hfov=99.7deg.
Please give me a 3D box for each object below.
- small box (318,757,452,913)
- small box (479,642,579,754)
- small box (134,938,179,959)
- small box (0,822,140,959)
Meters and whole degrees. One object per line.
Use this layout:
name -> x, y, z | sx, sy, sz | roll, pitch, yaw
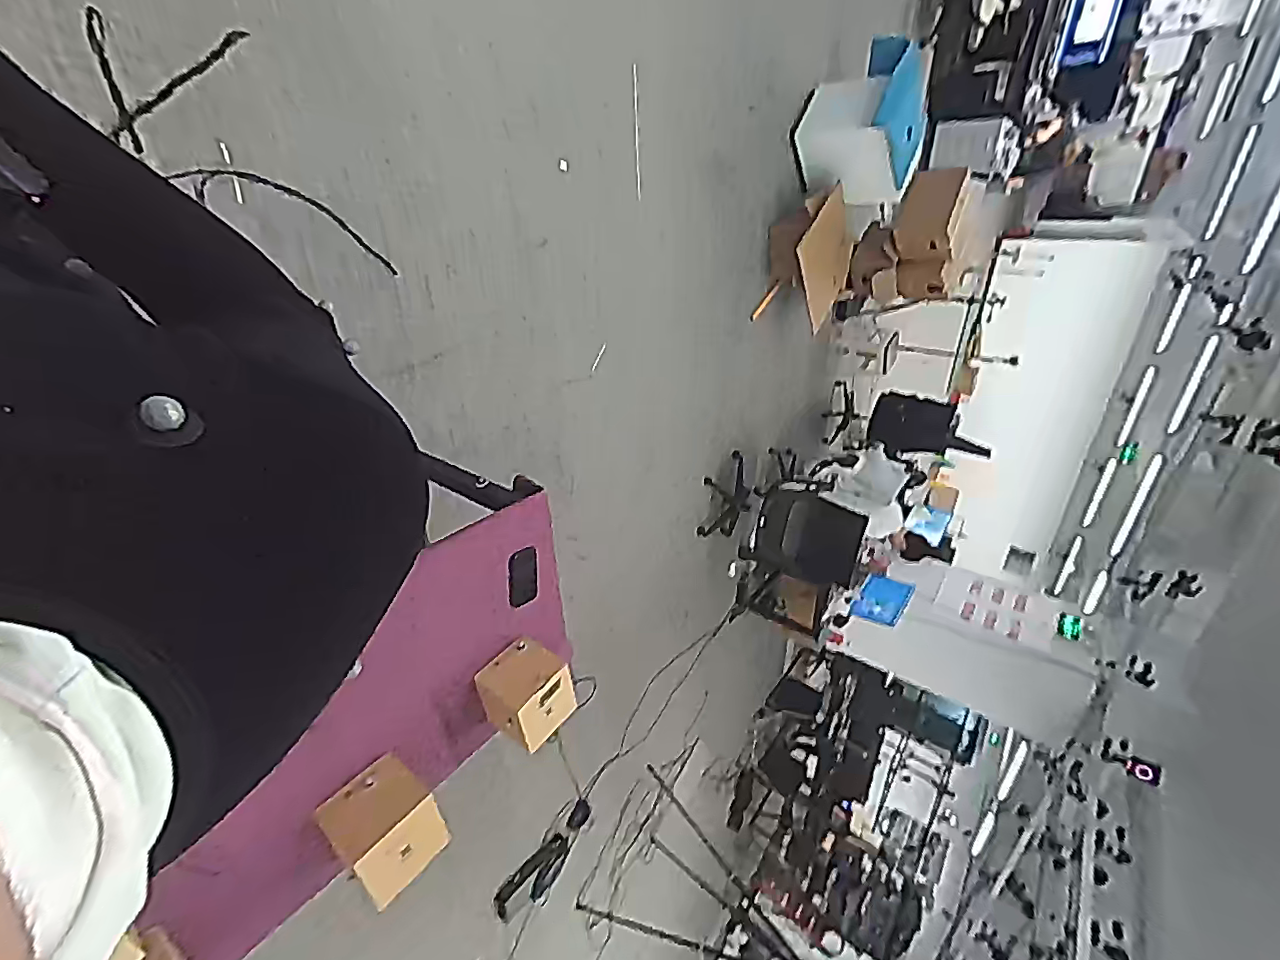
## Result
small box -> -0.519, 0.714, 1.106 | 0.168, 0.176, 0.179 | -34, 131, -43
small box -> -0.279, 0.533, 1.353 | 0.168, 0.176, 0.179 | -36, 134, -40
small box -> -0.773, 0.859, 0.817 | 0.168, 0.176, 0.179 | -31, 130, -45
small box -> -0.775, 0.577, 0.670 | 0.168, 0.176, 0.179 | -32, 130, -45
